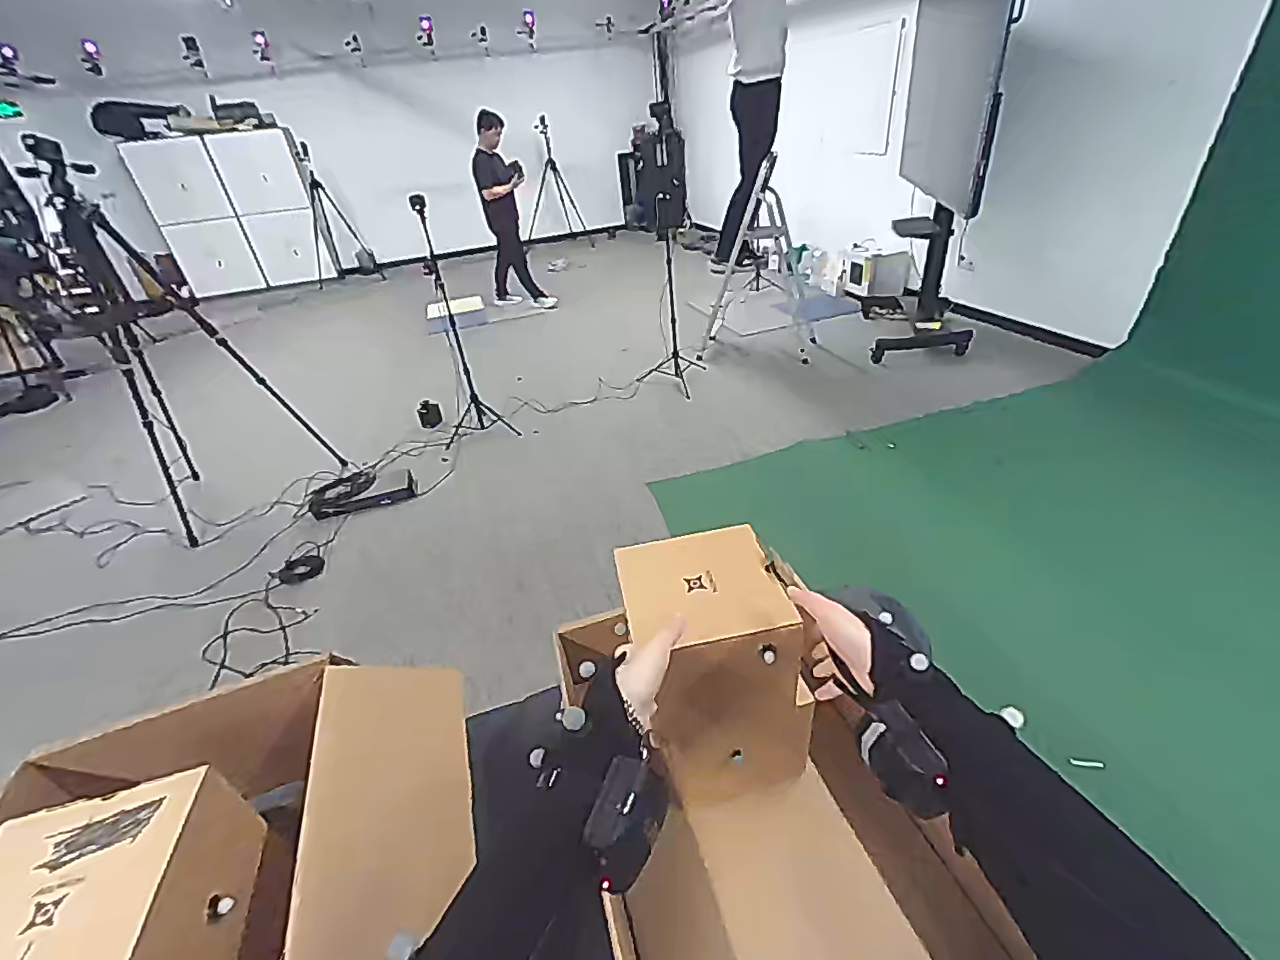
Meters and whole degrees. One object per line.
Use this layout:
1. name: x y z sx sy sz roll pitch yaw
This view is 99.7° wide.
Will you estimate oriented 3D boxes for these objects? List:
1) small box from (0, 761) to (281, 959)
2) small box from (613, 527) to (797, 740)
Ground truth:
1. small box: -0.450 0.391 0.472 0.168 0.176 0.179 -12 36 -10
2. small box: 0.072 0.184 0.652 0.179 0.176 0.168 -10 35 -6
